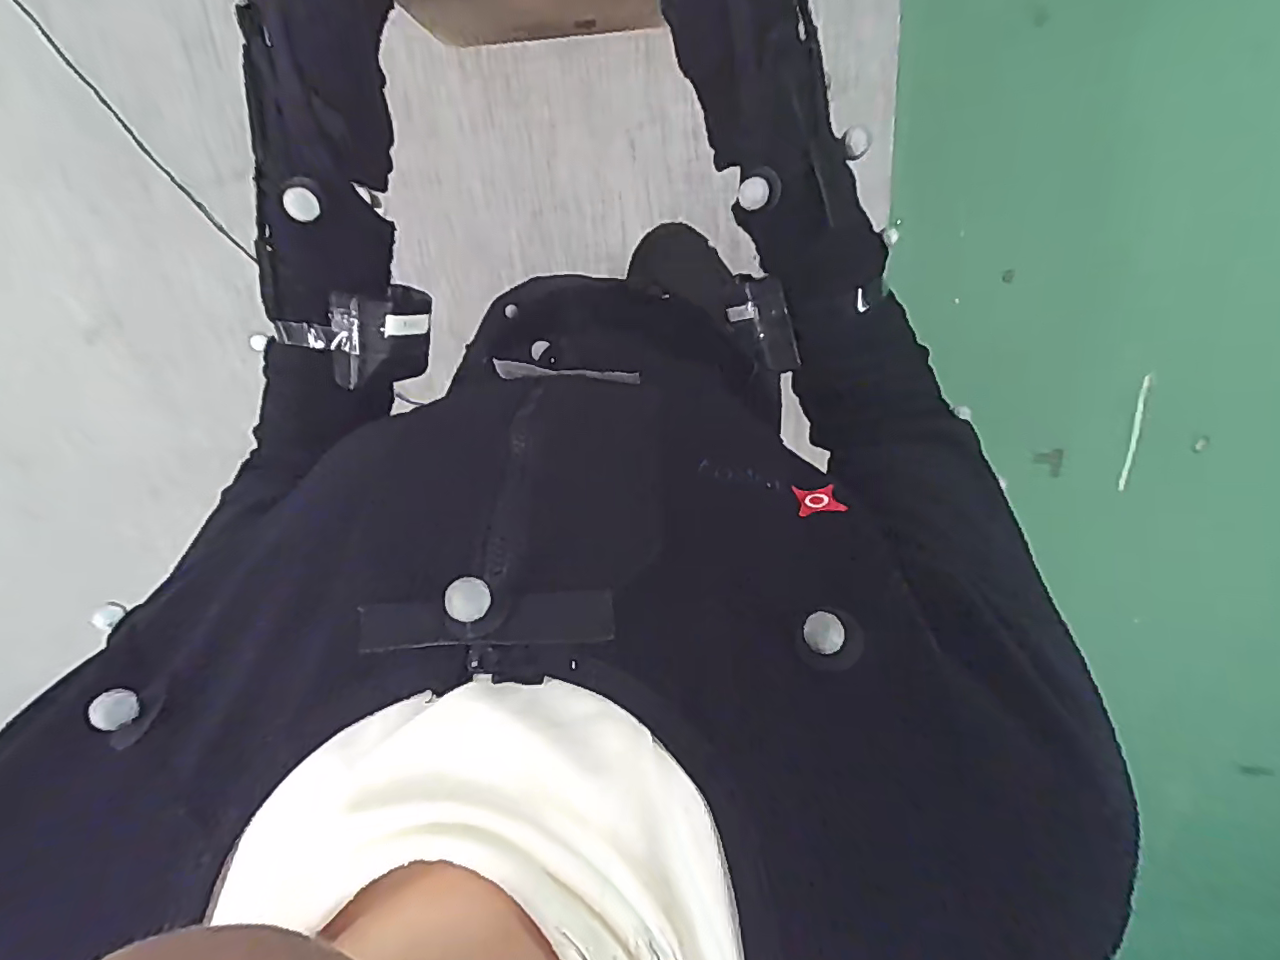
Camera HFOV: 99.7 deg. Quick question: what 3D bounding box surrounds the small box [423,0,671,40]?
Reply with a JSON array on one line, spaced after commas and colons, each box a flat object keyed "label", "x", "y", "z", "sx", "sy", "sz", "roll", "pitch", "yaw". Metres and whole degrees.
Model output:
[{"label": "small box", "x": -0.065, "y": -0.361, "z": 0.270, "sx": 0.168, "sy": 0.176, "sz": 0.179, "roll": -4, "pitch": 114, "yaw": 3}]

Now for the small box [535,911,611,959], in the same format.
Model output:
[{"label": "small box", "x": -0.174, "y": 1.276, "z": 1.413, "sx": 0.168, "sy": 0.176, "sz": 0.179, "roll": -10, "pitch": 110, "yaw": 4}]
